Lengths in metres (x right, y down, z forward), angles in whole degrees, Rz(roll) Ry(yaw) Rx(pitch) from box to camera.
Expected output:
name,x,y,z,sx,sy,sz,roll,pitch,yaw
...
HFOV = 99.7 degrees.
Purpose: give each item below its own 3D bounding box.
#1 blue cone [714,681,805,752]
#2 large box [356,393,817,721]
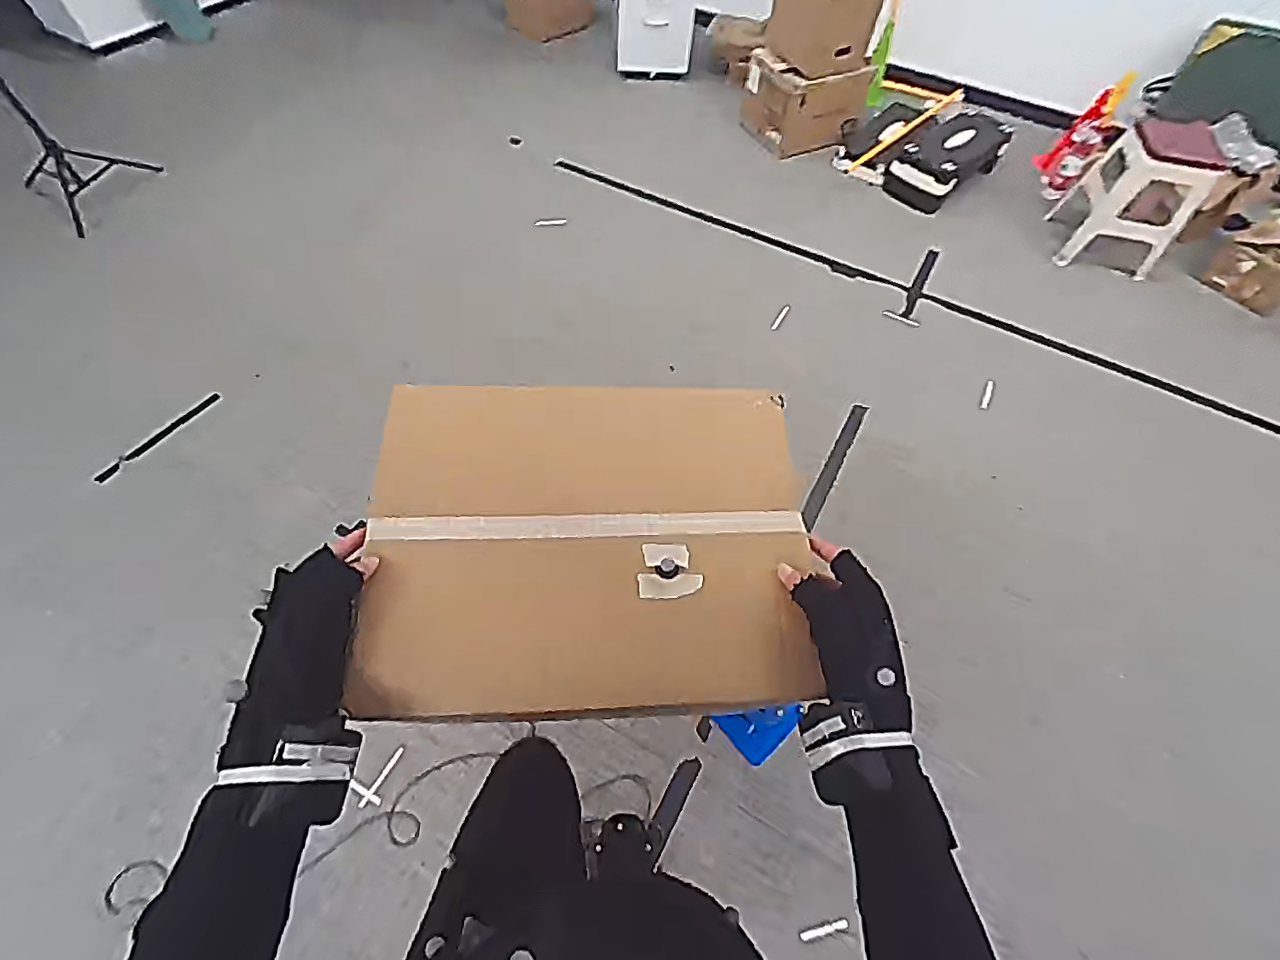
name,x,y,z,sx,sy,sz,roll,pitch,yaw
blue cone,0.307,0.480,1.235,0.192,0.380,0.193,-33,66,-21
large box,-0.059,0.108,0.657,0.408,0.320,0.320,0,65,-6
